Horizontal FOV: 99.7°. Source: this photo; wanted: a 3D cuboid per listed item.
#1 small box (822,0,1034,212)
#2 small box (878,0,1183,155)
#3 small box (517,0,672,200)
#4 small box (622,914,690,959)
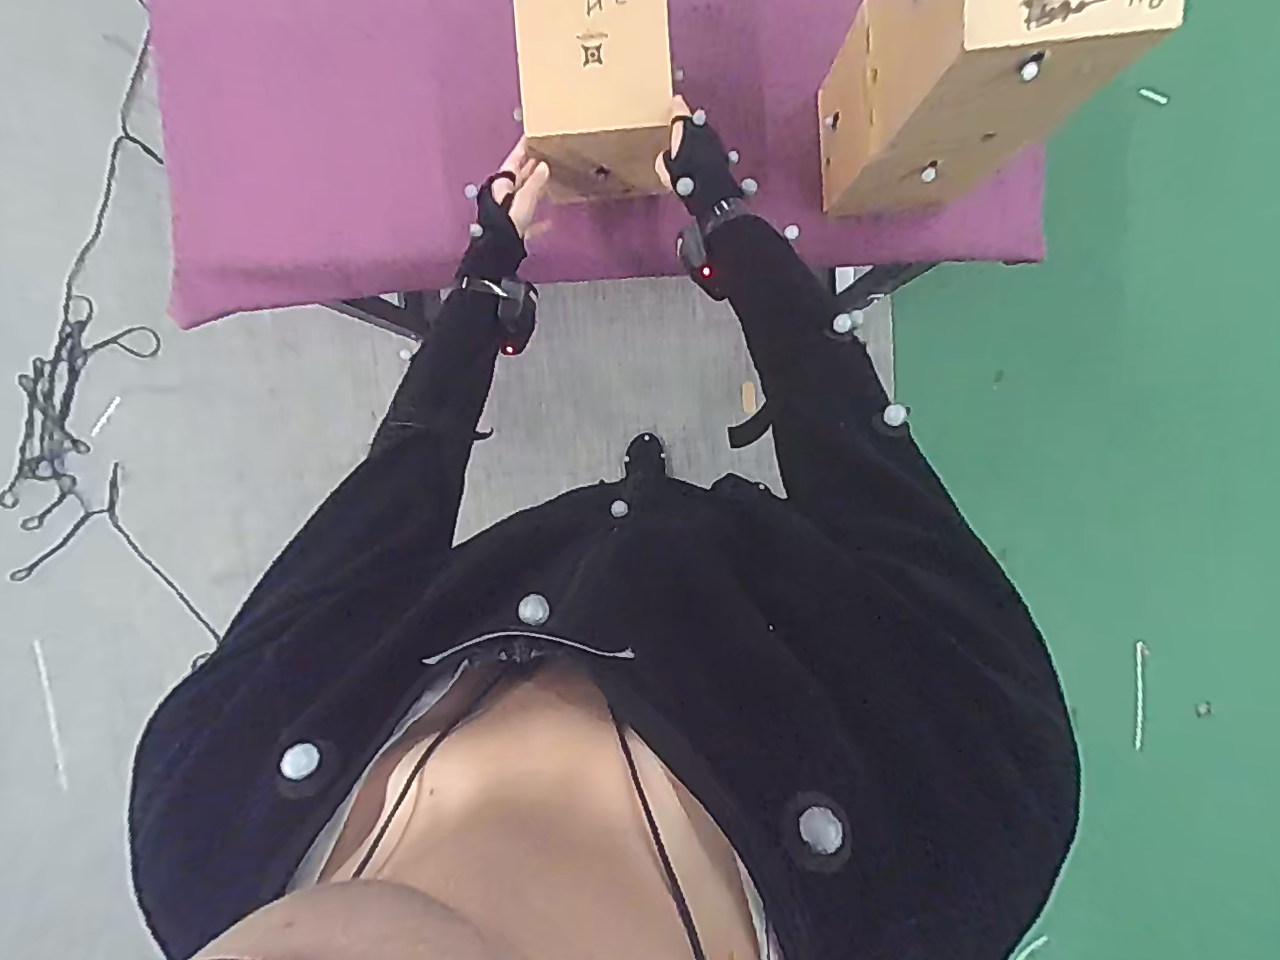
[{"bbox_3d":[0.334,-0.446,0.653,0.179,0.176,0.168,-5,95,4],"label":"small box"},{"bbox_3d":[0.328,-0.433,0.489,0.168,0.176,0.179,-4,95,5],"label":"small box"},{"bbox_3d":[-0.045,-0.466,0.666,0.168,0.176,0.179,-4,93,2],"label":"small box"},{"bbox_3d":[0.047,1.346,1.495,0.179,0.176,0.168,-9,92,5],"label":"small box"}]
